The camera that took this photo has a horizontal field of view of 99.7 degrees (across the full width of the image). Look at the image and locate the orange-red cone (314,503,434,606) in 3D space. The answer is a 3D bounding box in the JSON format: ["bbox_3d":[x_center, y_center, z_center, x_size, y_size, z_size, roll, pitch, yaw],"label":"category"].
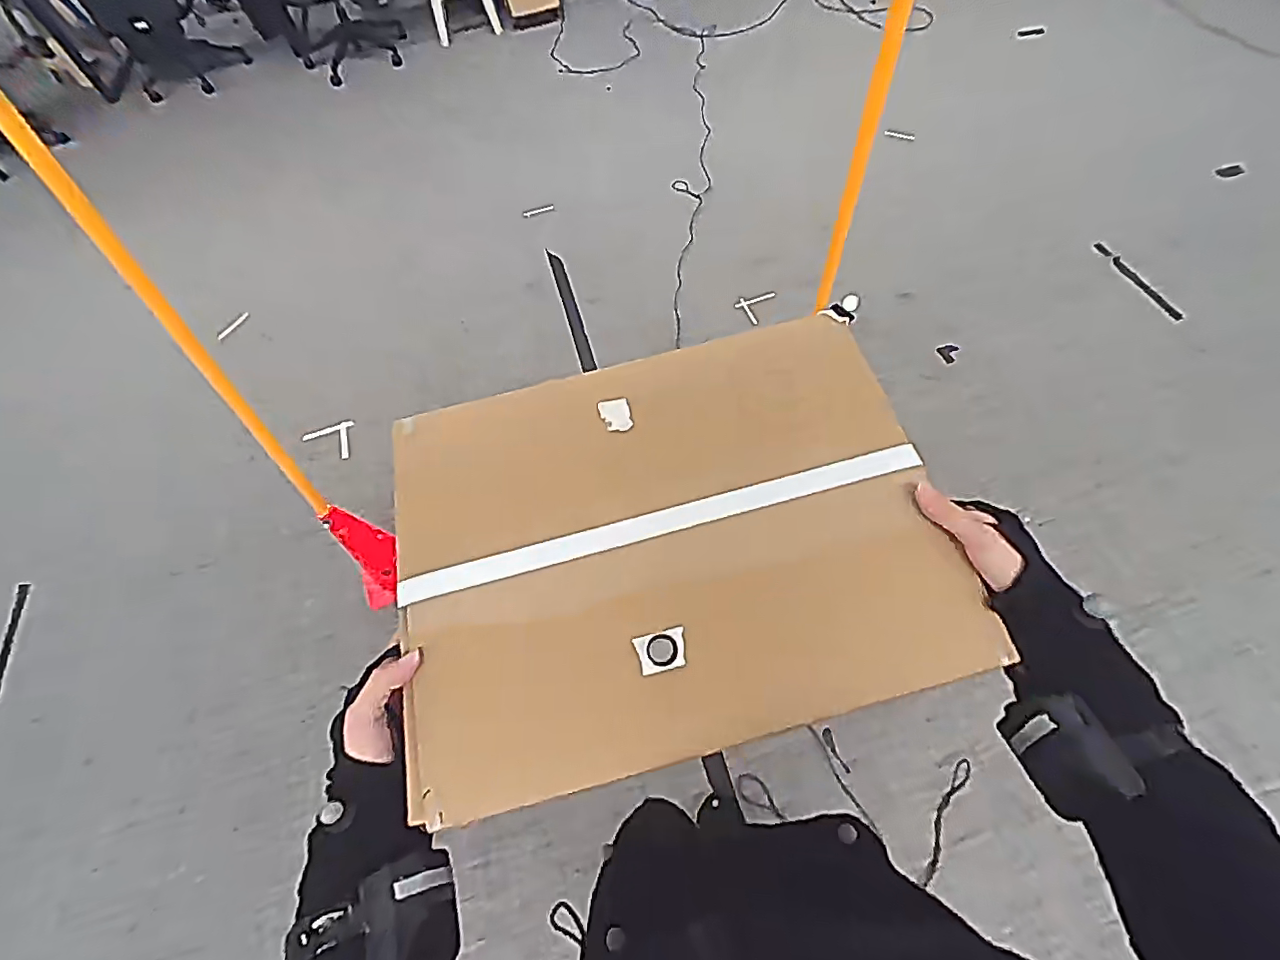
[{"bbox_3d":[-0.716,0.158,1.396,0.199,0.360,0.198,-25,60,-7],"label":"orange-red cone"}]
